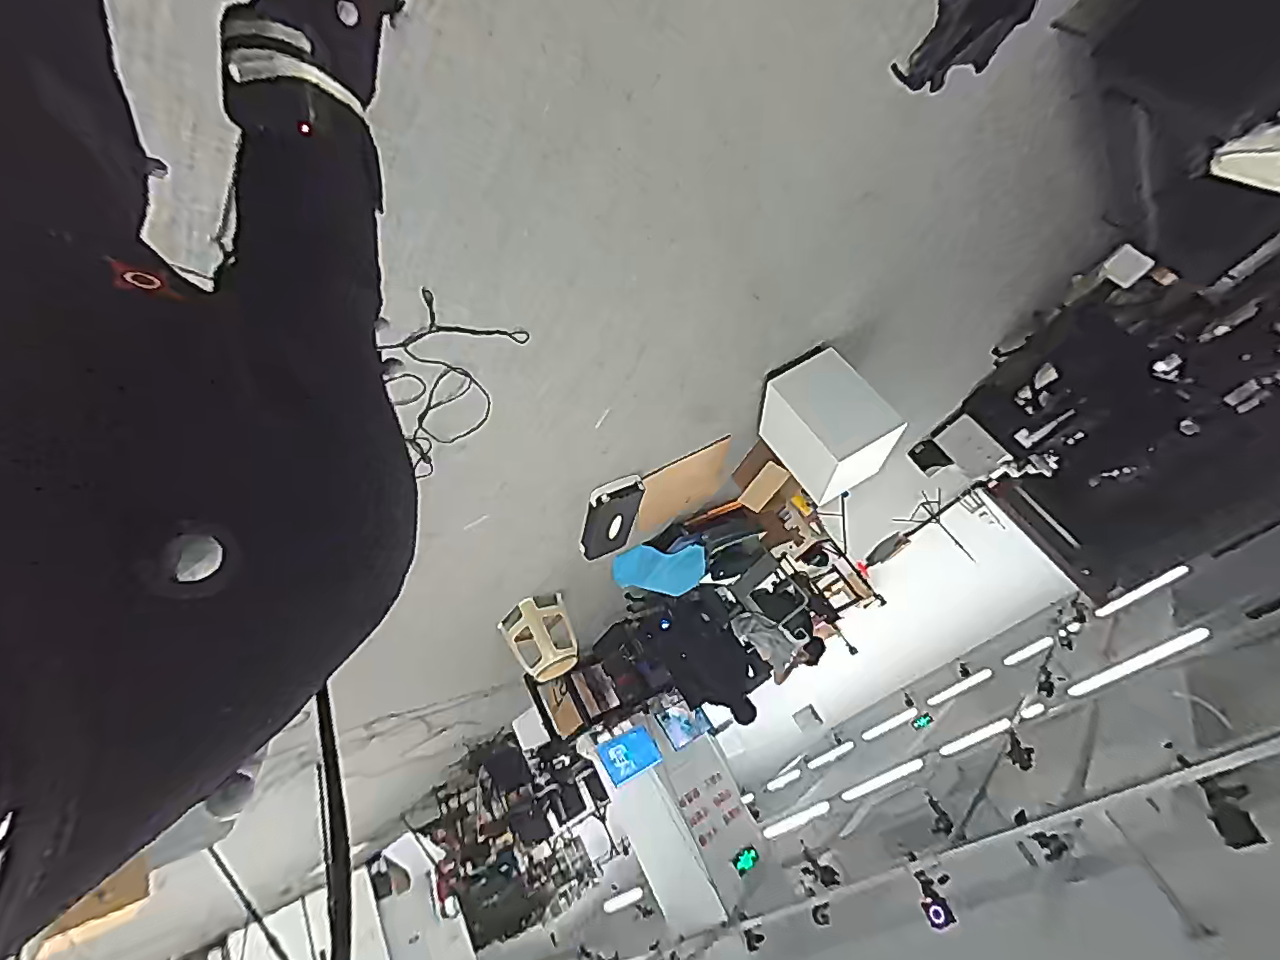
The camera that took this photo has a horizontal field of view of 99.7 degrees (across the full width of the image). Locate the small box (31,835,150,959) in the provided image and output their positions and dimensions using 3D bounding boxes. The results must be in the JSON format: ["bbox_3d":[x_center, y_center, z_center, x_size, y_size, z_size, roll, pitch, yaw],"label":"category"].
[{"bbox_3d":[-1.316,0.998,1.292,0.168,0.176,0.179,-46,153,25],"label":"small box"}]
